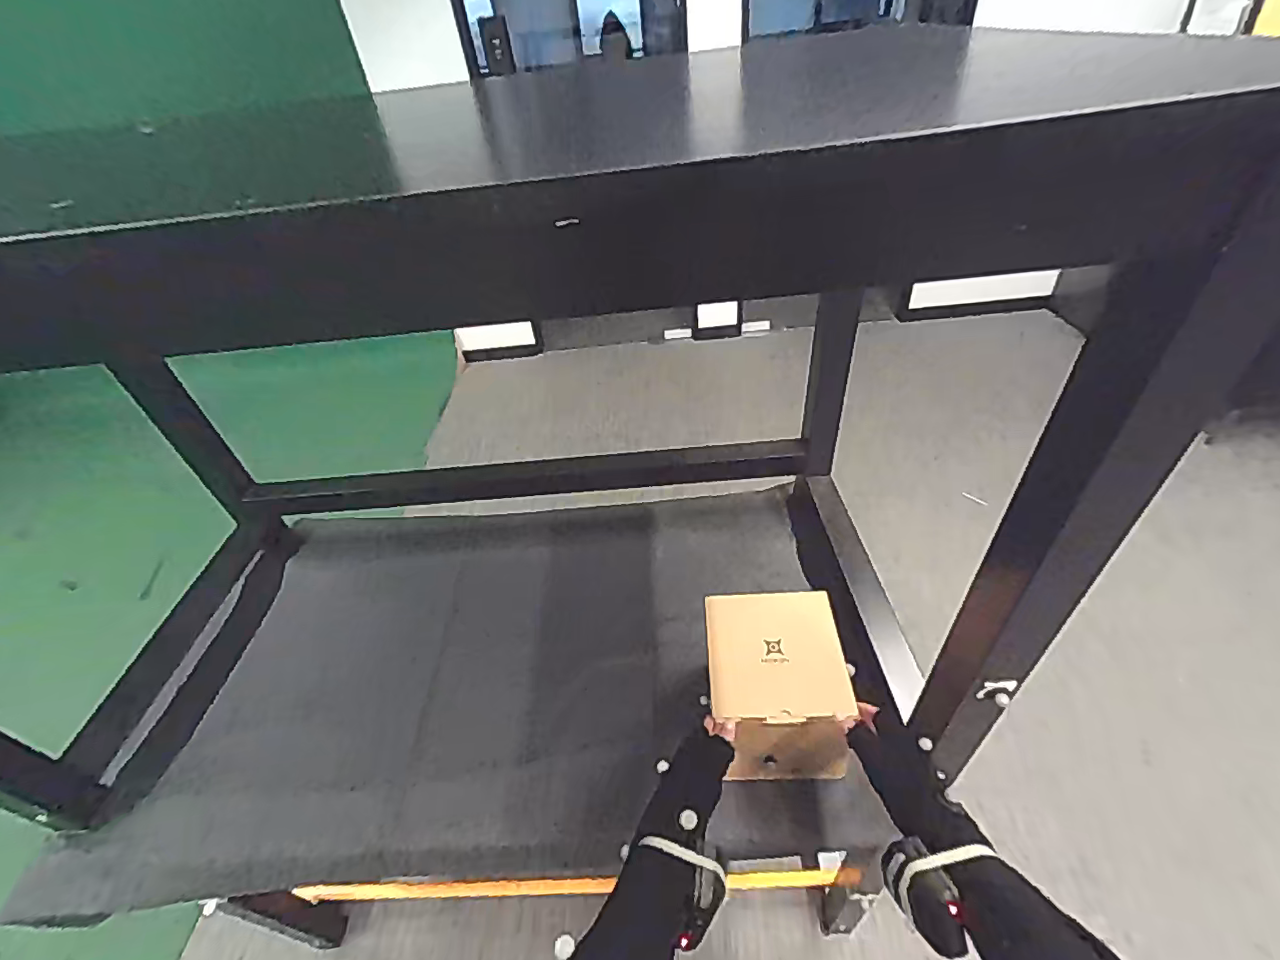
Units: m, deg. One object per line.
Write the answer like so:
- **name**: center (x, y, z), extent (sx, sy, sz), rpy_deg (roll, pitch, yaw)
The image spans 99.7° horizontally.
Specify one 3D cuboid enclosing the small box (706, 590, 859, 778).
- **small box**: center (0.175, 0.270, 0.720), extent (0.168, 0.176, 0.179), rpy_deg (-4, 40, 6)
